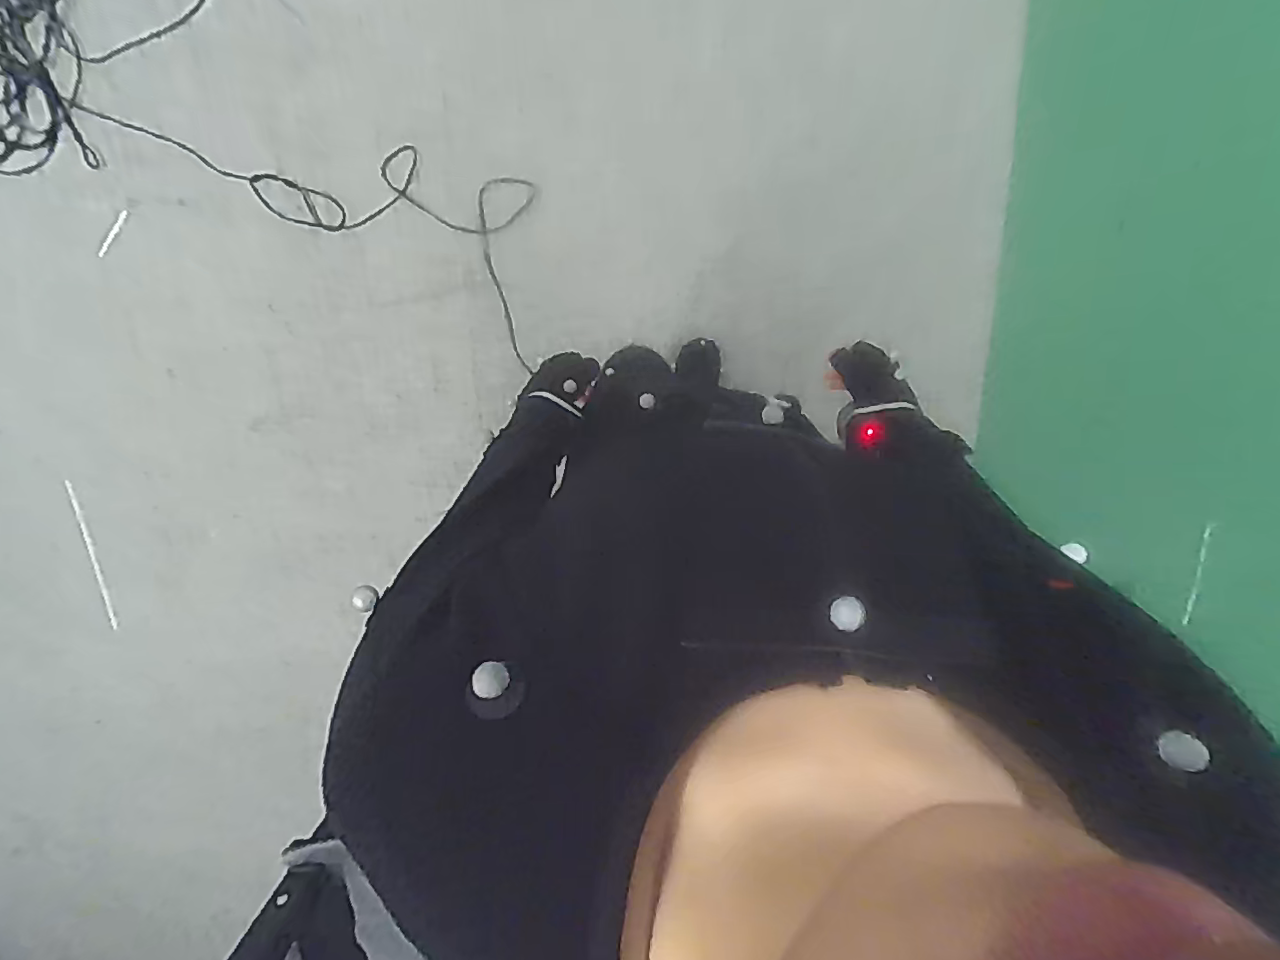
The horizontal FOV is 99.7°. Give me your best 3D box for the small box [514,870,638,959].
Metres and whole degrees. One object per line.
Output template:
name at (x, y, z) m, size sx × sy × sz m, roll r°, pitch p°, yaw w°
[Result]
small box at (-0.091, 0.749, 0.834) m, size 0.168 × 0.176 × 0.179 m, roll -5°, pitch 104°, yaw 1°
